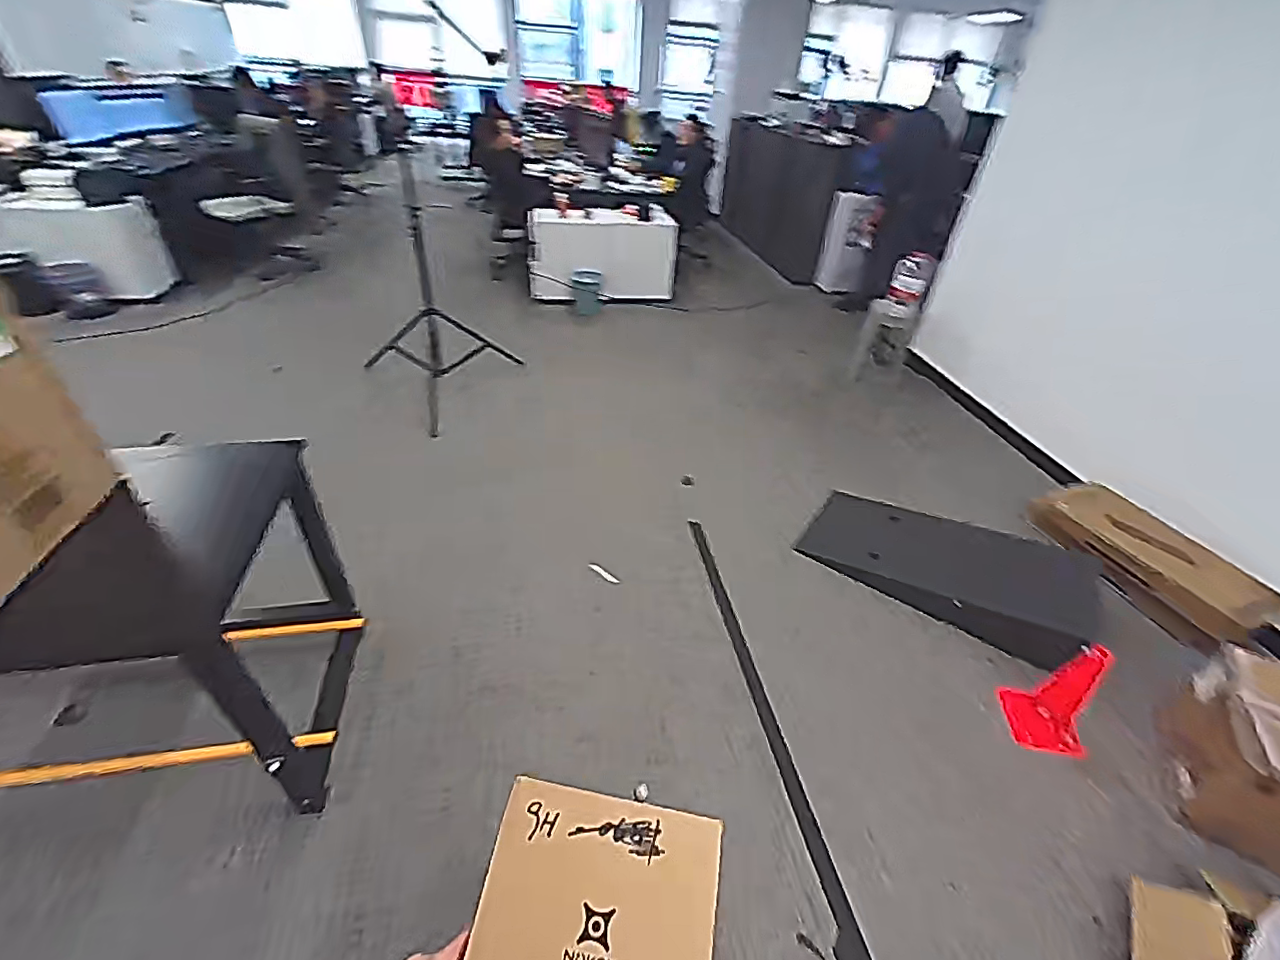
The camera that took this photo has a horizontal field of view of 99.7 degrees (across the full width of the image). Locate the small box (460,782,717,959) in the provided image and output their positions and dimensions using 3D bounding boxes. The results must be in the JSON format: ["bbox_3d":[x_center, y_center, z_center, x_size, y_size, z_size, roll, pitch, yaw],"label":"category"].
[{"bbox_3d":[-0.039,0.361,0.431,0.168,0.176,0.179,10,56,3],"label":"small box"}]
